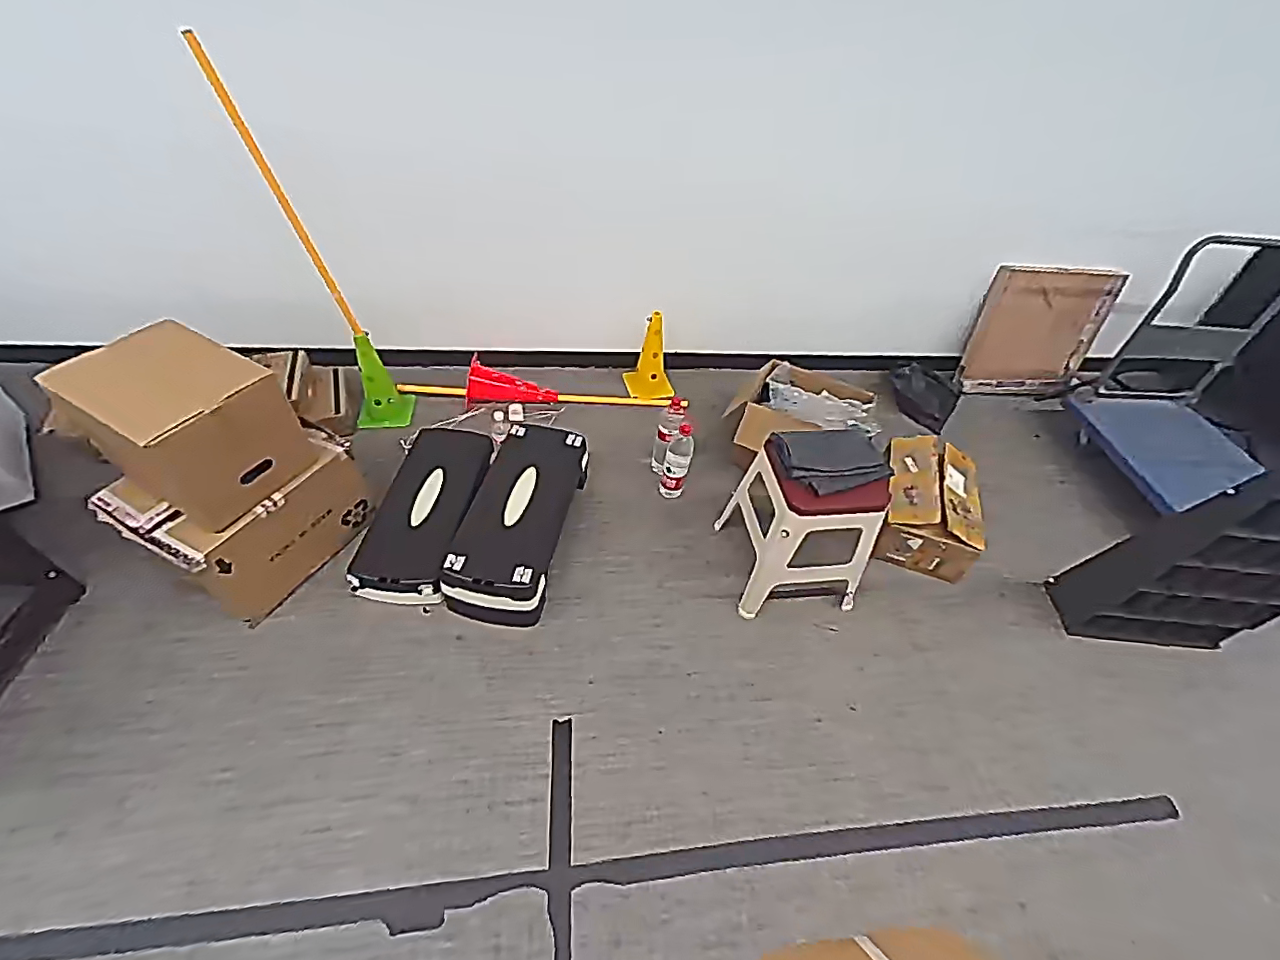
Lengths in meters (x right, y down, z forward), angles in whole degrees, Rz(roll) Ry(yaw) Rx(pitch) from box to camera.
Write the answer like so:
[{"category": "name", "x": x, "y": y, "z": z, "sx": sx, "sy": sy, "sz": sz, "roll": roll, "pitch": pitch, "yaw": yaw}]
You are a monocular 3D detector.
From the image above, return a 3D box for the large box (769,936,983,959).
[{"category": "large box", "x": 0.368, "y": 0.801, "z": 0.590, "sx": 0.320, "sy": 0.408, "sz": 0.320, "roll": -1, "pitch": 76, "yaw": -8}]
